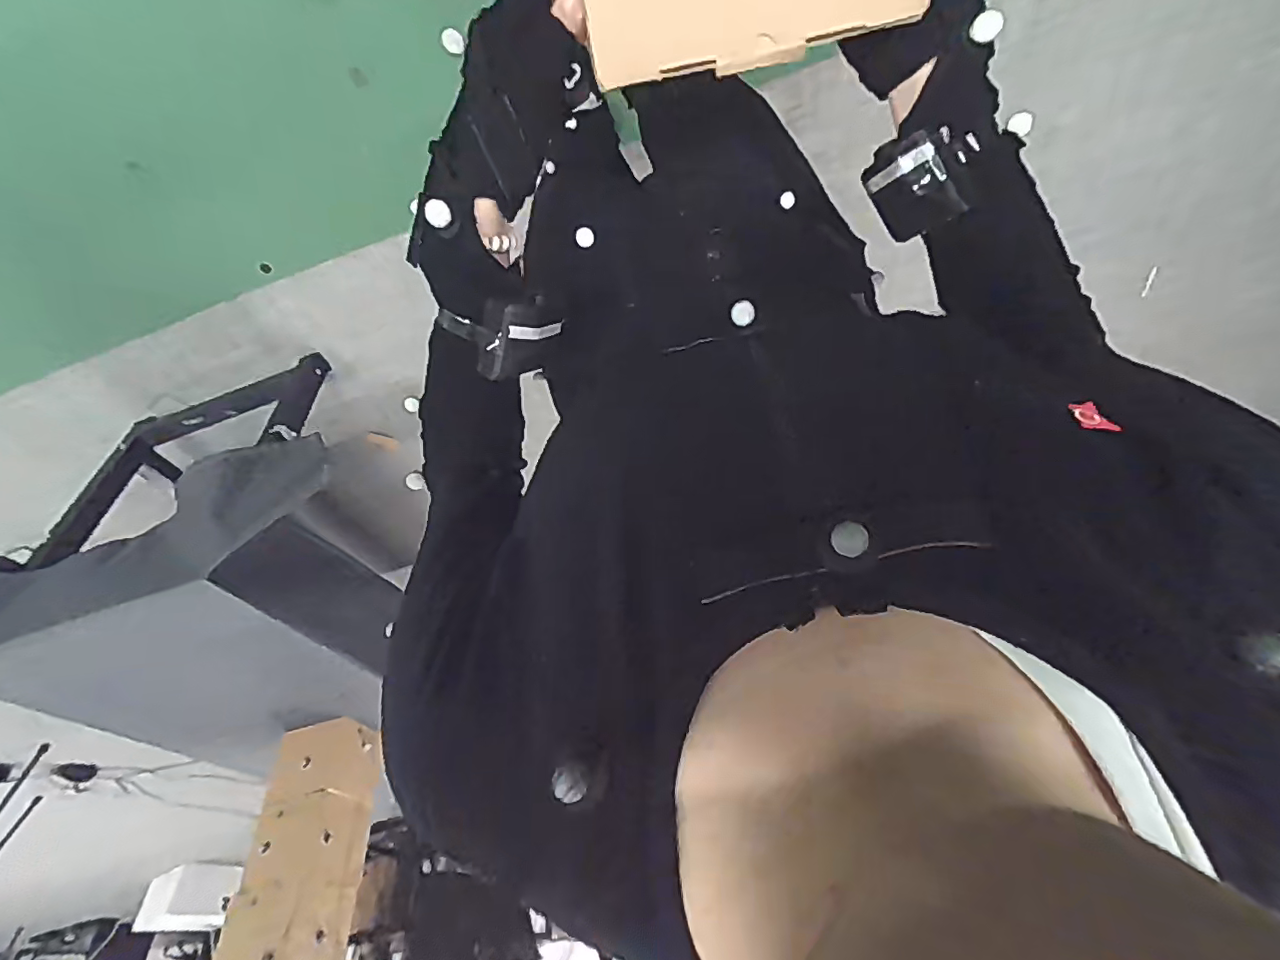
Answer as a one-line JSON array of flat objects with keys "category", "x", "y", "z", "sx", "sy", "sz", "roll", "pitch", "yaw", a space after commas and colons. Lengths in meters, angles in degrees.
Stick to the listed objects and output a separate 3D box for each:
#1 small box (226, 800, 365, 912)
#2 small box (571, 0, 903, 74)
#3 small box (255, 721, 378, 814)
[{"category": "small box", "x": -0.749, "y": 0.828, "z": 1.197, "sx": 0.168, "sy": 0.176, "sz": 0.179, "roll": -18, "pitch": 135, "yaw": 8}, {"category": "small box", "x": 0.033, "y": -0.336, "z": 0.266, "sx": 0.168, "sy": 0.176, "sz": 0.179, "roll": -11, "pitch": 135, "yaw": 3}, {"category": "small box", "x": -0.770, "y": 0.711, "z": 1.309, "sx": 0.179, "sy": 0.176, "sz": 0.168, "roll": -18, "pitch": 135, "yaw": 5}]
